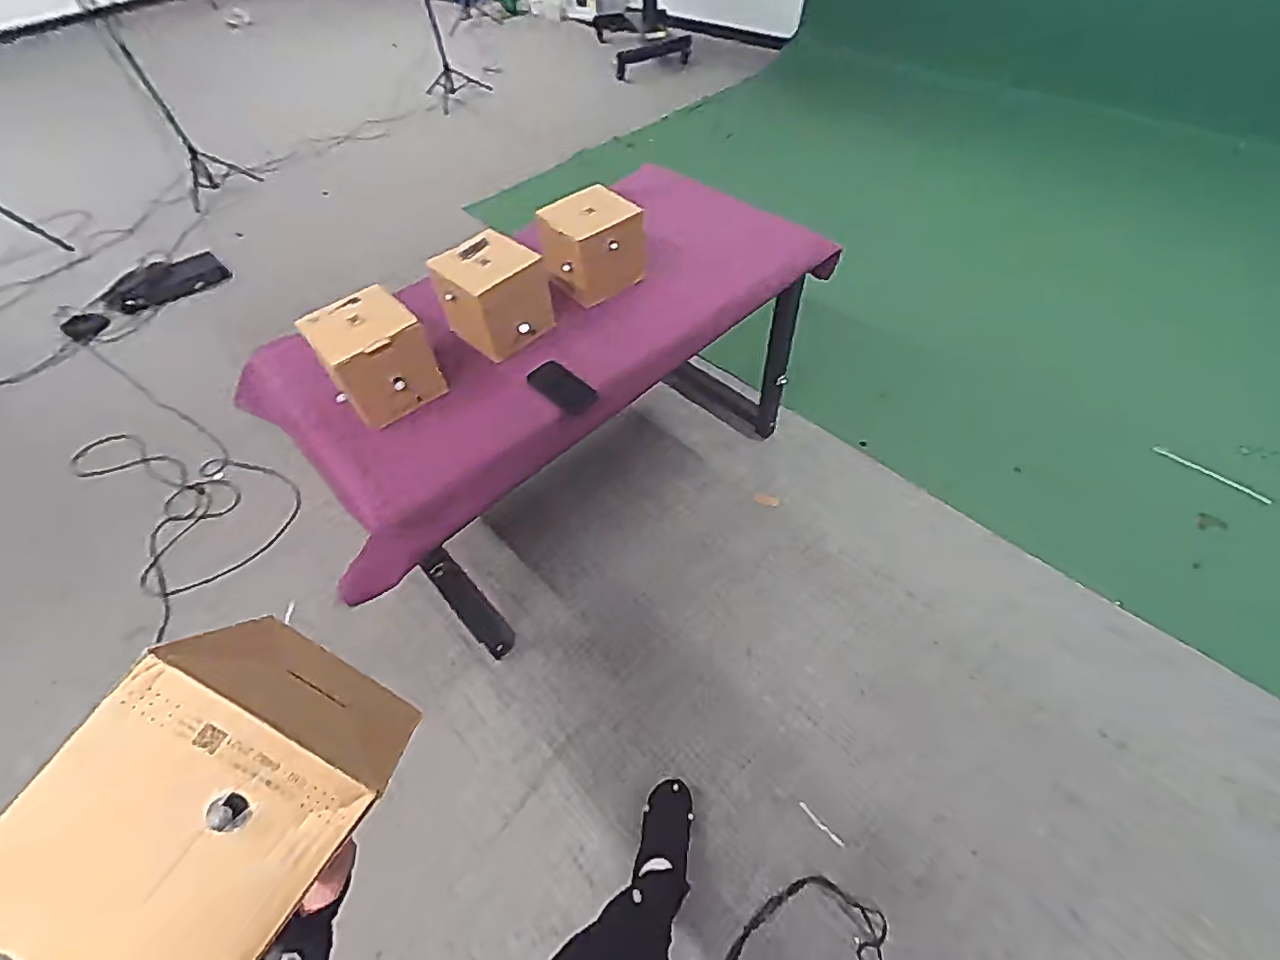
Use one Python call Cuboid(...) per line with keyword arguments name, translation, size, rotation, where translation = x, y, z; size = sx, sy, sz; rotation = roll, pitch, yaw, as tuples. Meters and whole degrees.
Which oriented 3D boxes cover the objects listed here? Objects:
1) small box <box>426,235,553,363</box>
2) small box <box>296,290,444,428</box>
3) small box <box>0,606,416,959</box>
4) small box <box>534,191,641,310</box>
Cuboid(name="small box", translation=(-0.309, -0.377, 1.136), size=(0.179, 0.176, 0.168), rotation=(36, 63, 26))
Cuboid(name="small box", translation=(-0.506, -0.225, 1.036), size=(0.168, 0.176, 0.179), rotation=(-36, 59, -22))
Cuboid(name="small box", translation=(-0.295, 0.213, 0.405), size=(0.168, 0.179, 0.176), rotation=(38, 76, -7))
Cuboid(name="small box", translation=(-0.111, -0.518, 1.228), size=(0.179, 0.176, 0.168), rotation=(-34, 58, -20))
